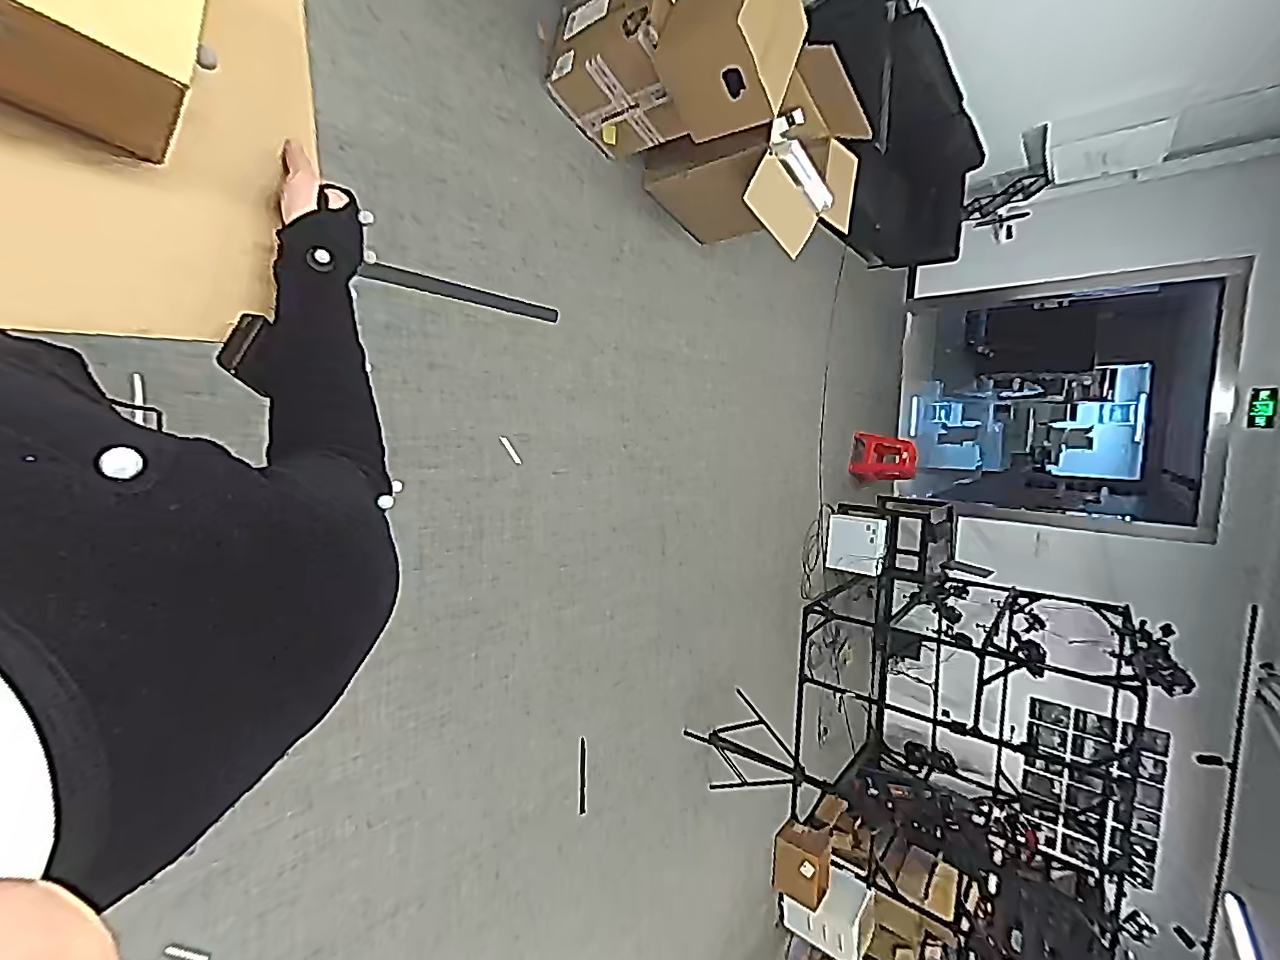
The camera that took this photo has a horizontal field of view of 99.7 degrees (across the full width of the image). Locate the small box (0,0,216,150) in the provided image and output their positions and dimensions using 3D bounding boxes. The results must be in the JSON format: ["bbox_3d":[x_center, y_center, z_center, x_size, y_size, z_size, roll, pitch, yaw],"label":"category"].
[{"bbox_3d":[-0.404,-0.356,0.362,0.179,0.176,0.168,9,90,-45],"label":"small box"}]
